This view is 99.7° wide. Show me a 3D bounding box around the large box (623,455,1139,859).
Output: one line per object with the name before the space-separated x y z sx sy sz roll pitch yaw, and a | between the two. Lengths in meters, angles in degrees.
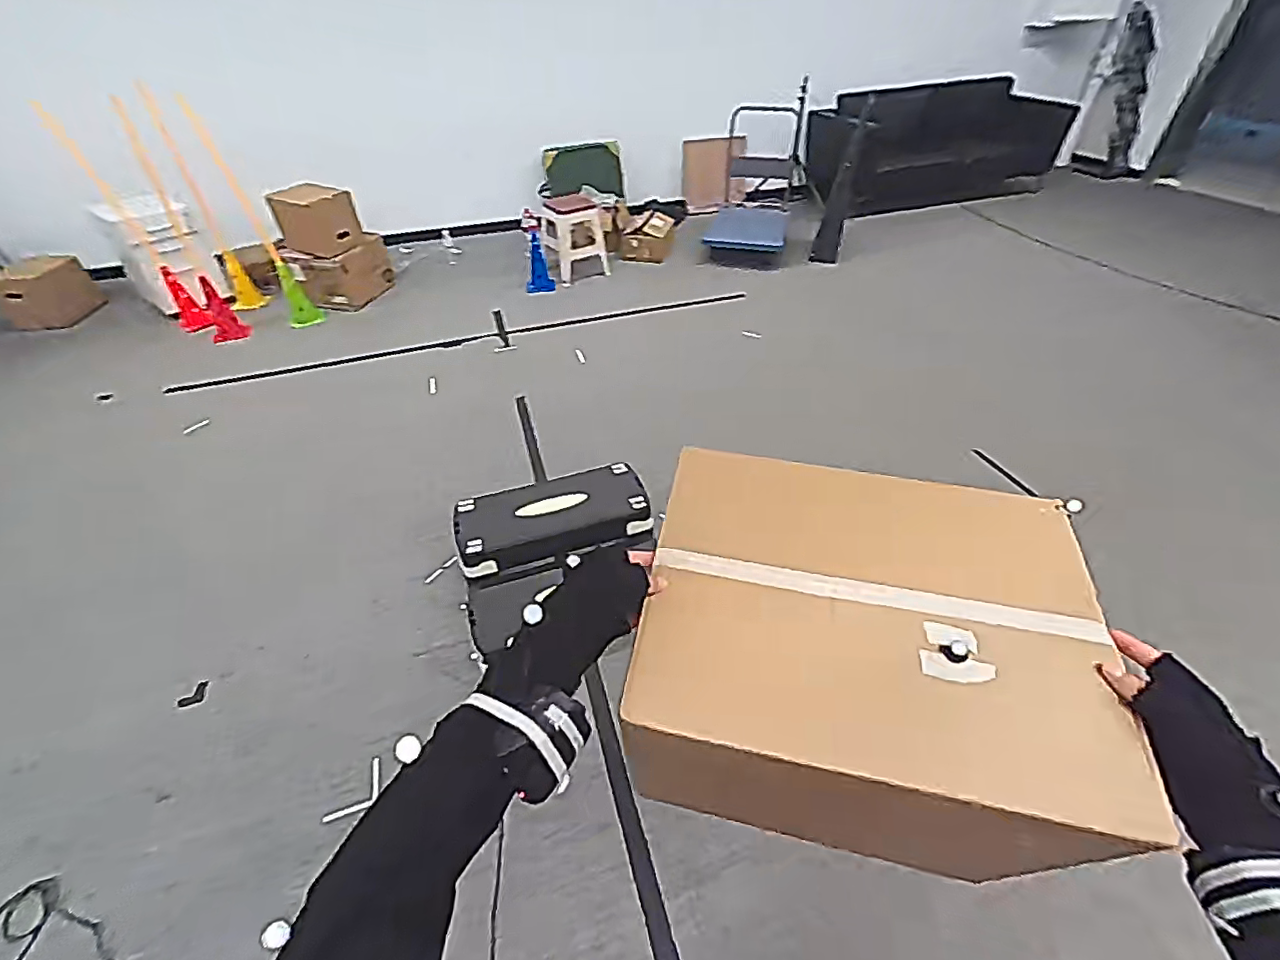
large box | 0.207 0.205 0.633 0.408 0.320 0.320 8 51 8

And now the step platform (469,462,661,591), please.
step platform | -0.263 0.150 1.957 0.684 0.204 0.286 -14 43 -15
